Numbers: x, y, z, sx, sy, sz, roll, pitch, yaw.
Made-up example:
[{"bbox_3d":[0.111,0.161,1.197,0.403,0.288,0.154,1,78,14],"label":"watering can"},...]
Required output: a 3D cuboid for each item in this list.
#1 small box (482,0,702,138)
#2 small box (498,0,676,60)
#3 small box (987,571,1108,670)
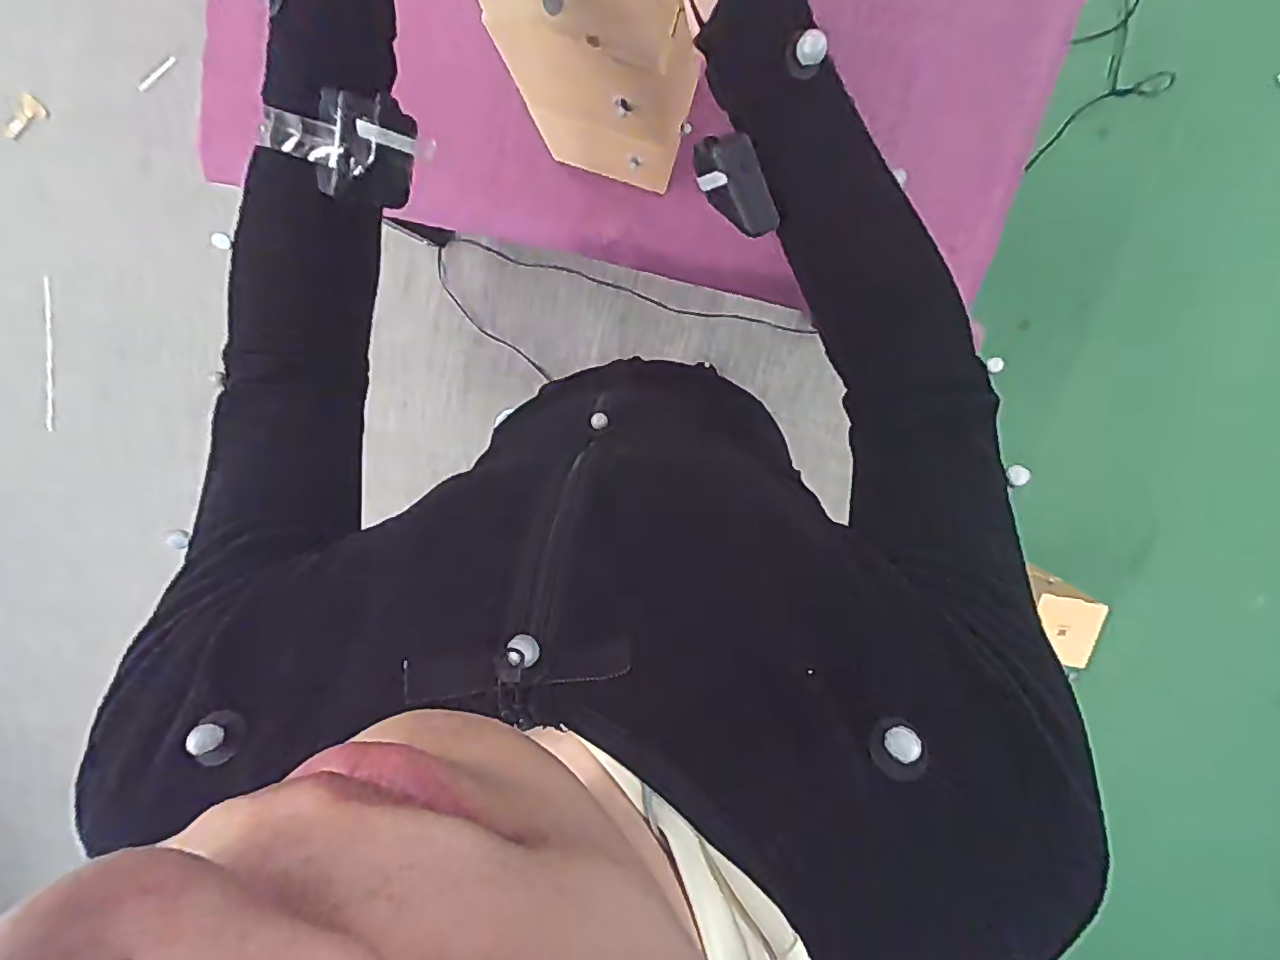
[{"bbox_3d":[-0.035,-0.486,0.555,0.179,0.176,0.168,18,101,-1],"label":"small box"},{"bbox_3d":[-0.040,-0.461,0.395,0.168,0.176,0.179,17,102,-1],"label":"small box"},{"bbox_3d":[1.042,0.358,1.404,0.168,0.176,0.179,11,101,1],"label":"small box"}]
